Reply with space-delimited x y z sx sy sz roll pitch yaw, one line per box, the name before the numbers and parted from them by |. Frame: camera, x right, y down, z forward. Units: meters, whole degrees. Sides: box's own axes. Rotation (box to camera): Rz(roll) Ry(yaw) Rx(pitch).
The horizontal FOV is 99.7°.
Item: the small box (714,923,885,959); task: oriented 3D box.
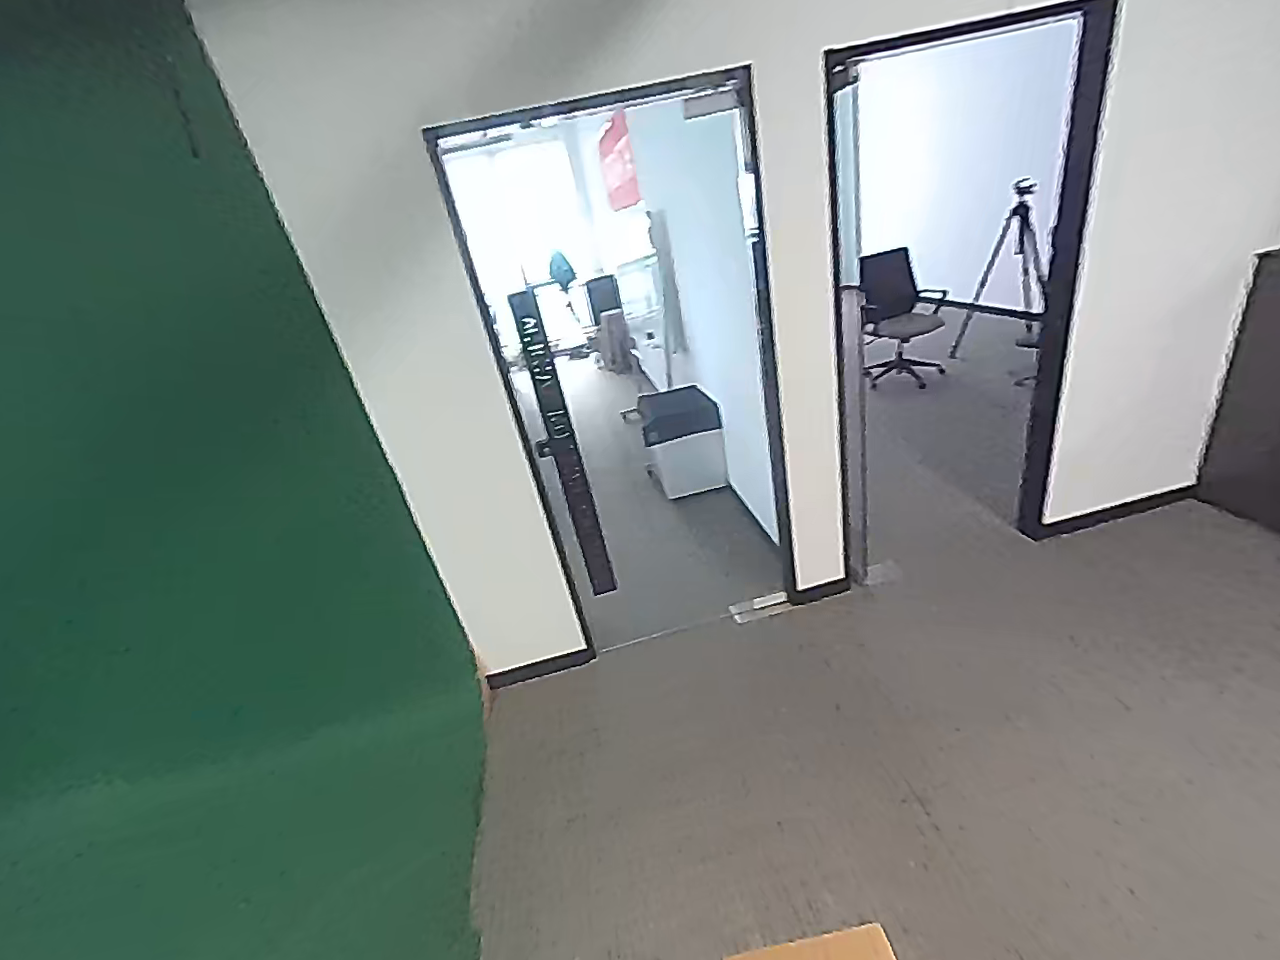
small box | 0.174 0.570 0.501 0.168 0.176 0.179 -11 26 -2
